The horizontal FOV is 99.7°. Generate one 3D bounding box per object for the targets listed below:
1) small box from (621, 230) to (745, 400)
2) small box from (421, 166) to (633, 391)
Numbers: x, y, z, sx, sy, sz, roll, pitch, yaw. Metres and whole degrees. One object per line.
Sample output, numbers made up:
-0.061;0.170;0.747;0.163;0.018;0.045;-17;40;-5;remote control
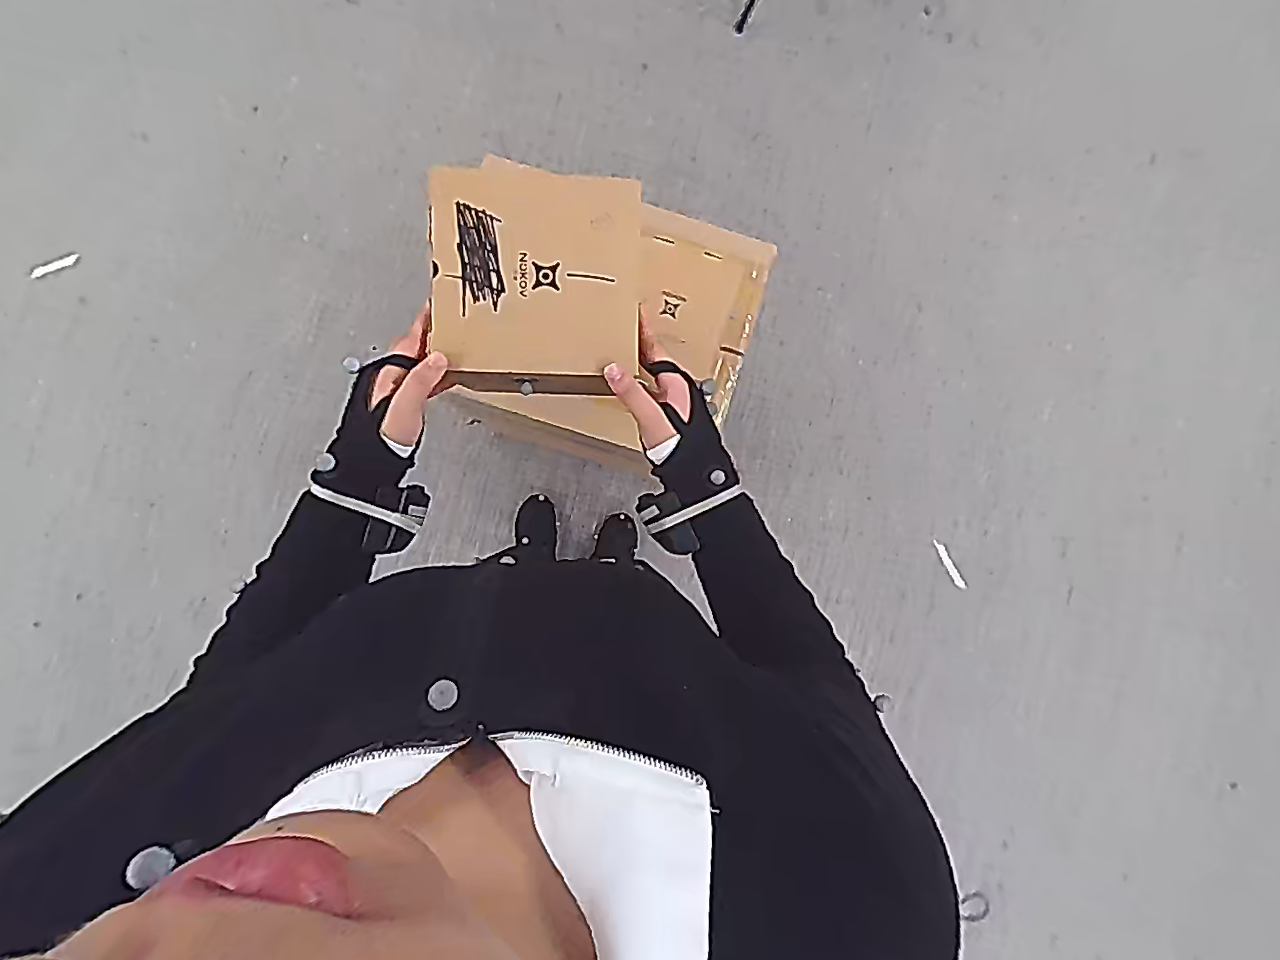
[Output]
0.042;-0.238;0.823;0.168;0.176;0.179;17;89;0;small box
-0.099;-0.179;0.531;0.179;0.176;0.168;0;94;-5;small box
